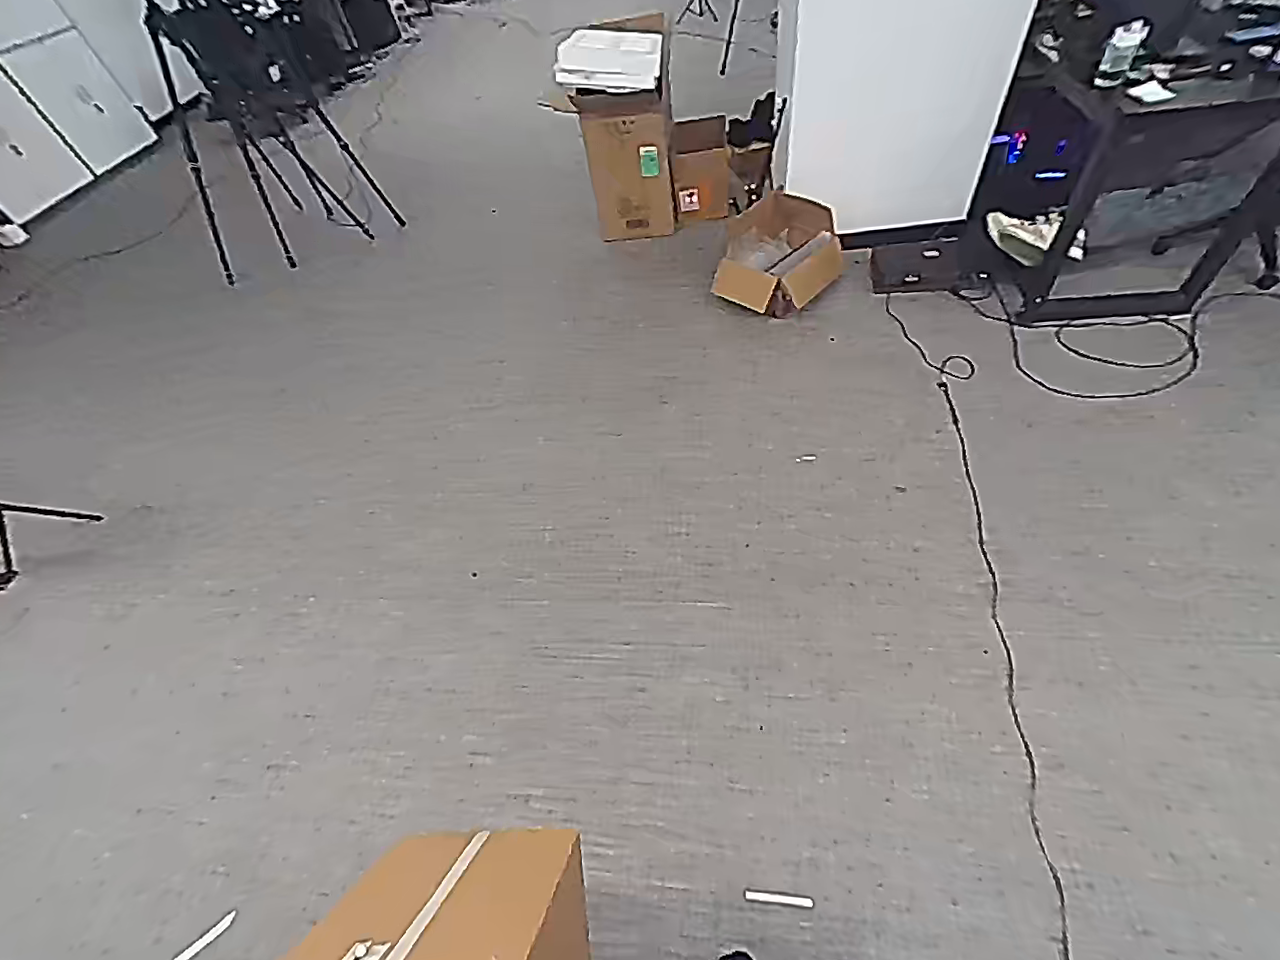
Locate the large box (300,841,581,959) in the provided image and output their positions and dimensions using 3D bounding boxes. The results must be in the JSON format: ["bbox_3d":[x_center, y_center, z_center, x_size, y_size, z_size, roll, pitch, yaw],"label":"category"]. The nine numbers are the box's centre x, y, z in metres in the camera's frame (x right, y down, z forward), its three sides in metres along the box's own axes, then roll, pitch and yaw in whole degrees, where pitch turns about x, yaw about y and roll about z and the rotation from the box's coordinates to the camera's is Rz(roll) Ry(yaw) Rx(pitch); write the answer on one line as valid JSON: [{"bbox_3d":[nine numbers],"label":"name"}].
[{"bbox_3d":[-0.261,0.738,0.685,0.320,0.408,0.320,-8,85,6],"label":"large box"}]
